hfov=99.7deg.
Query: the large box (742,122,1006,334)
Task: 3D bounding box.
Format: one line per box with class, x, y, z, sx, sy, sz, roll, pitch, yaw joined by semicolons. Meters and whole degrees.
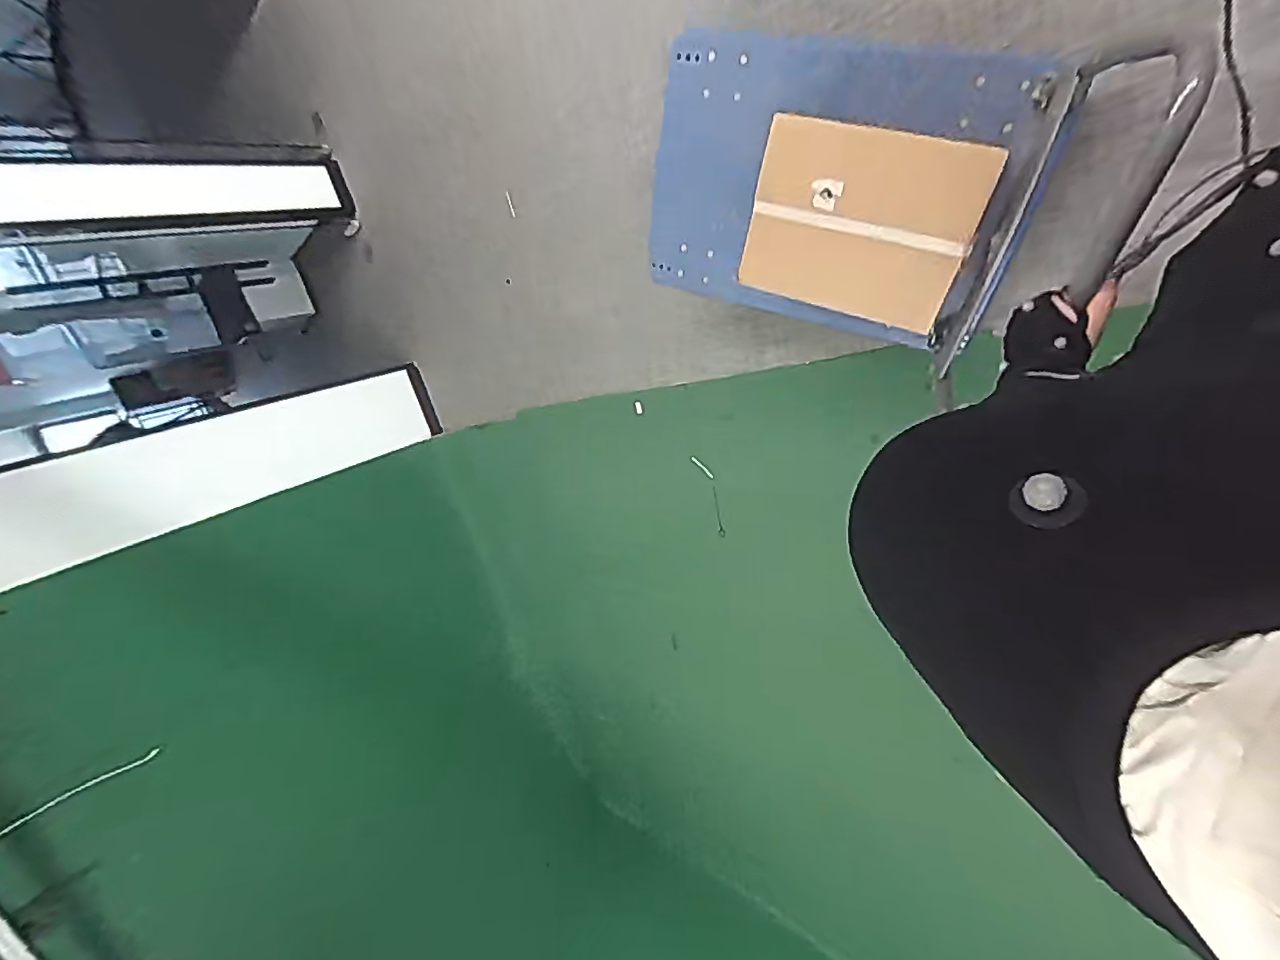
large box;0.485;-0.543;1.143;0.408;0.320;0.320;23;126;20
